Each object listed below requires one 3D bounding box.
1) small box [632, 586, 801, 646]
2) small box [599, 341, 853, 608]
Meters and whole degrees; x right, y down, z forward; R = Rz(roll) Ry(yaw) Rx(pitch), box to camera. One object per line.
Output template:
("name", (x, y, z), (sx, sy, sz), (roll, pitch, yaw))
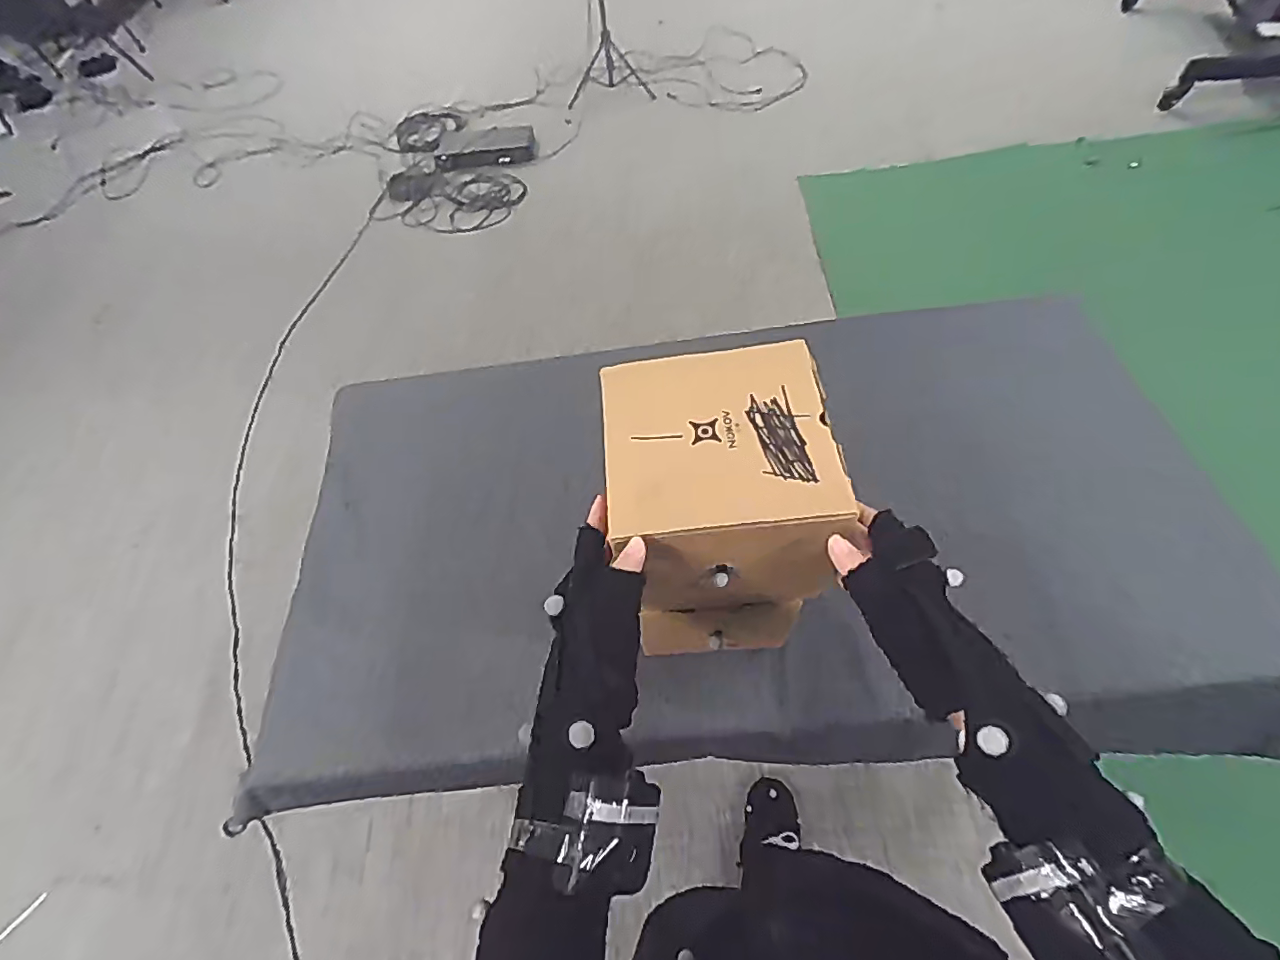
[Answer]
("small box", (0.079, 0.087, 0.627), (0.168, 0.176, 0.179), (-7, 59, 4))
("small box", (0.066, 0.005, 0.484), (0.179, 0.176, 0.168), (-8, 58, 4))
